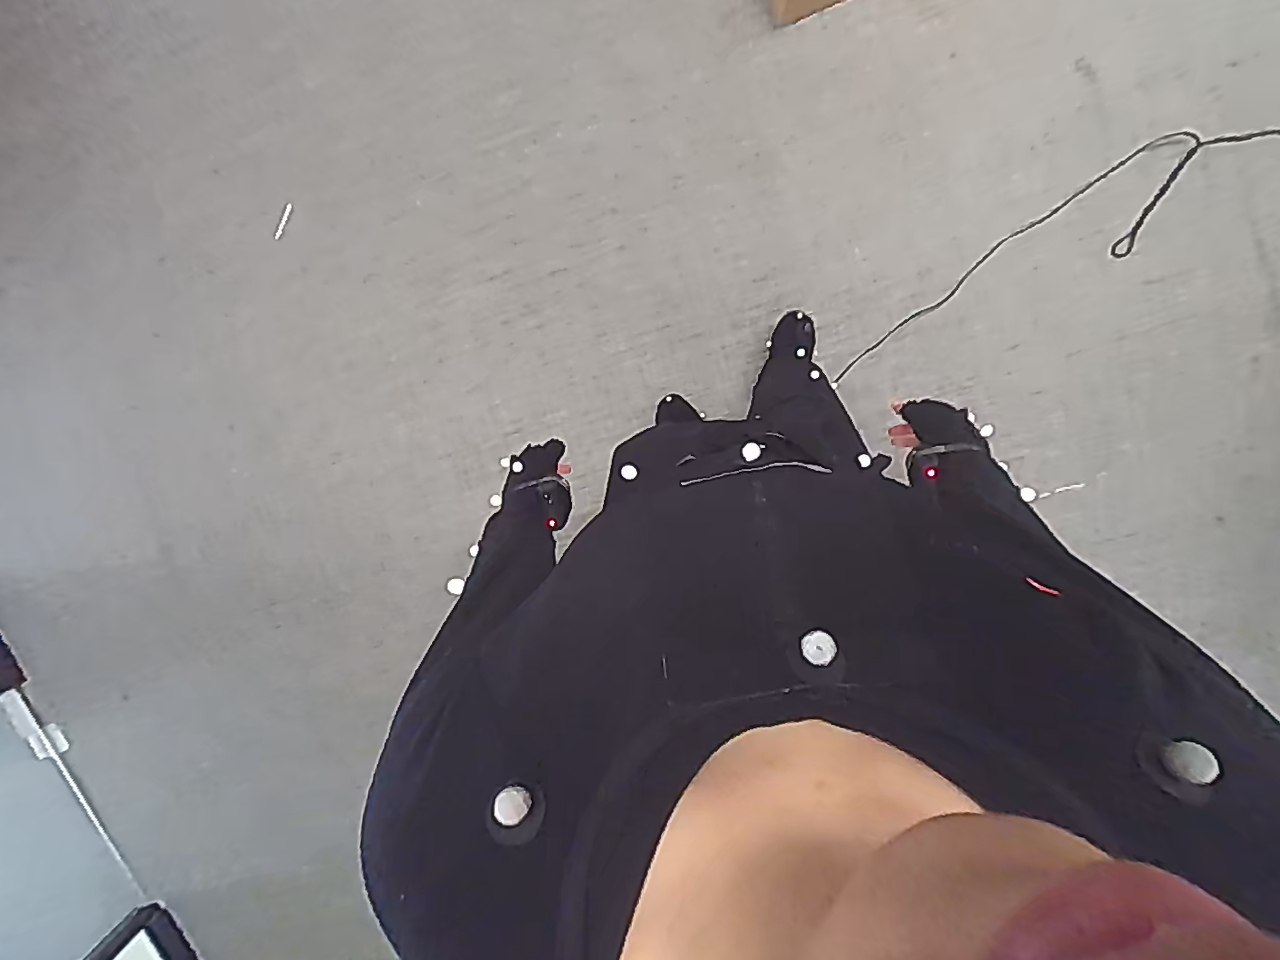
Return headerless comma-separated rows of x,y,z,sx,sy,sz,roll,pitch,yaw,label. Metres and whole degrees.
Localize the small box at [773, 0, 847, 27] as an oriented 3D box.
0.367,-1.112,1.135,0.179,0.176,0.168,-18,100,8,small box
